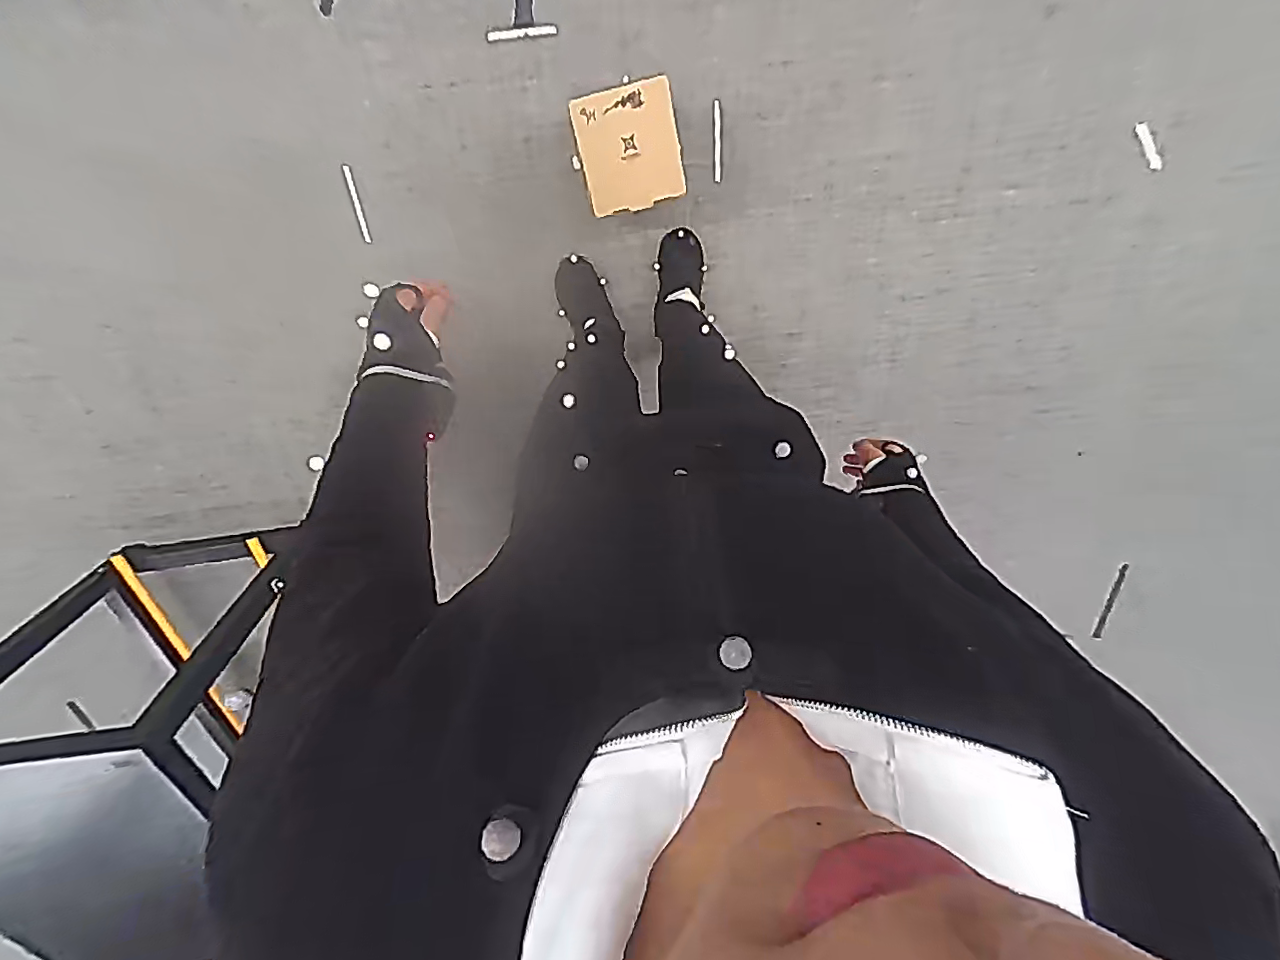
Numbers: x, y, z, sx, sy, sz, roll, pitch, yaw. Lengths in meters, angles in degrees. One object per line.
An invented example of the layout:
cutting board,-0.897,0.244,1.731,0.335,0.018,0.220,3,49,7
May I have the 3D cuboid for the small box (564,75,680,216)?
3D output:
small box,-0.032,-0.591,0.965,0.168,0.176,0.179,-13,121,2
